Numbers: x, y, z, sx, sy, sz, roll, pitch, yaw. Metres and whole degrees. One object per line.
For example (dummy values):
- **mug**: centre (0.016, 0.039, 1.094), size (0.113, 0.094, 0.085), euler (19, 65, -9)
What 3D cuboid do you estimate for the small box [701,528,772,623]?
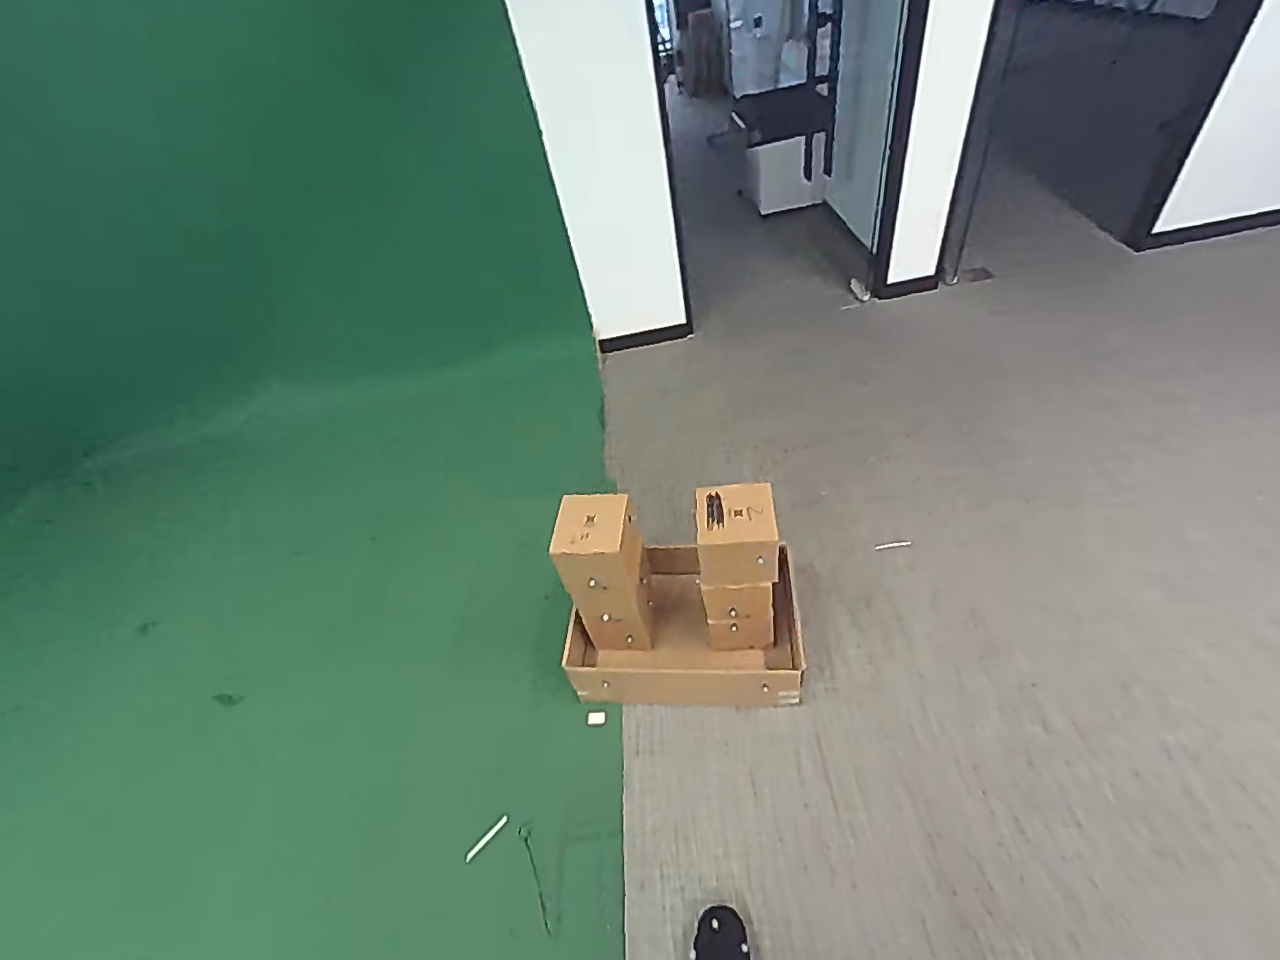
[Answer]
- **small box**: centre (0.245, 0.244, 1.377), size (0.168, 0.176, 0.179), euler (-4, 47, 11)

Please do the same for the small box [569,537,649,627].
- **small box**: centre (-0.074, 0.266, 1.434), size (0.168, 0.176, 0.179), euler (0, 48, 12)

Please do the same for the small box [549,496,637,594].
- **small box**: centre (-0.105, 0.157, 1.315), size (0.168, 0.176, 0.179), euler (-2, 47, 11)
